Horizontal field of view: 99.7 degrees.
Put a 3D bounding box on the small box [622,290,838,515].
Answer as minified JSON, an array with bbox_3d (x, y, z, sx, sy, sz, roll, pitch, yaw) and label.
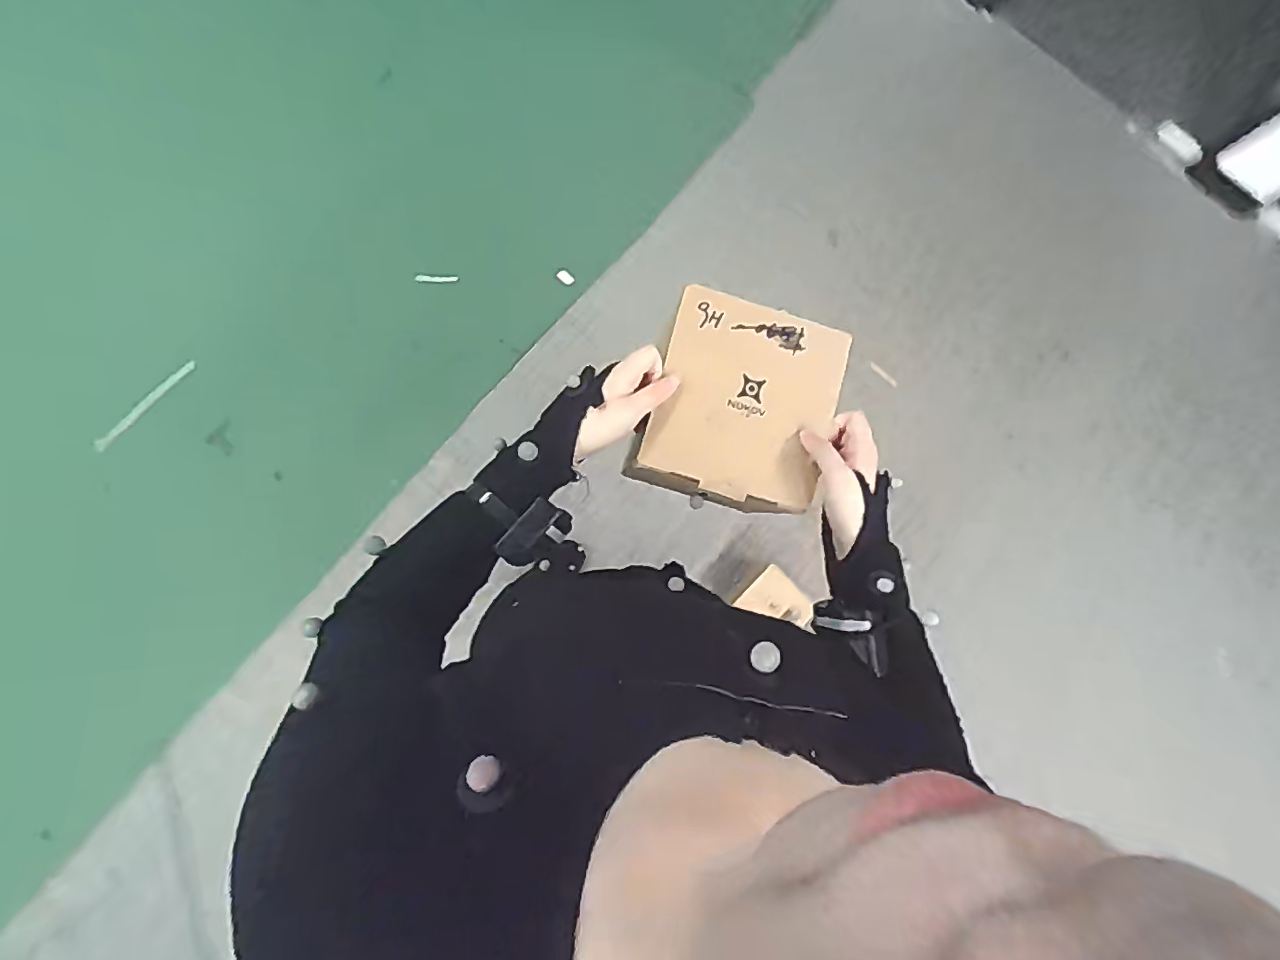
[{"bbox_3d":[0.081,-0.070,0.582,0.168,0.176,0.179,15,87,-6],"label":"small box"}]
